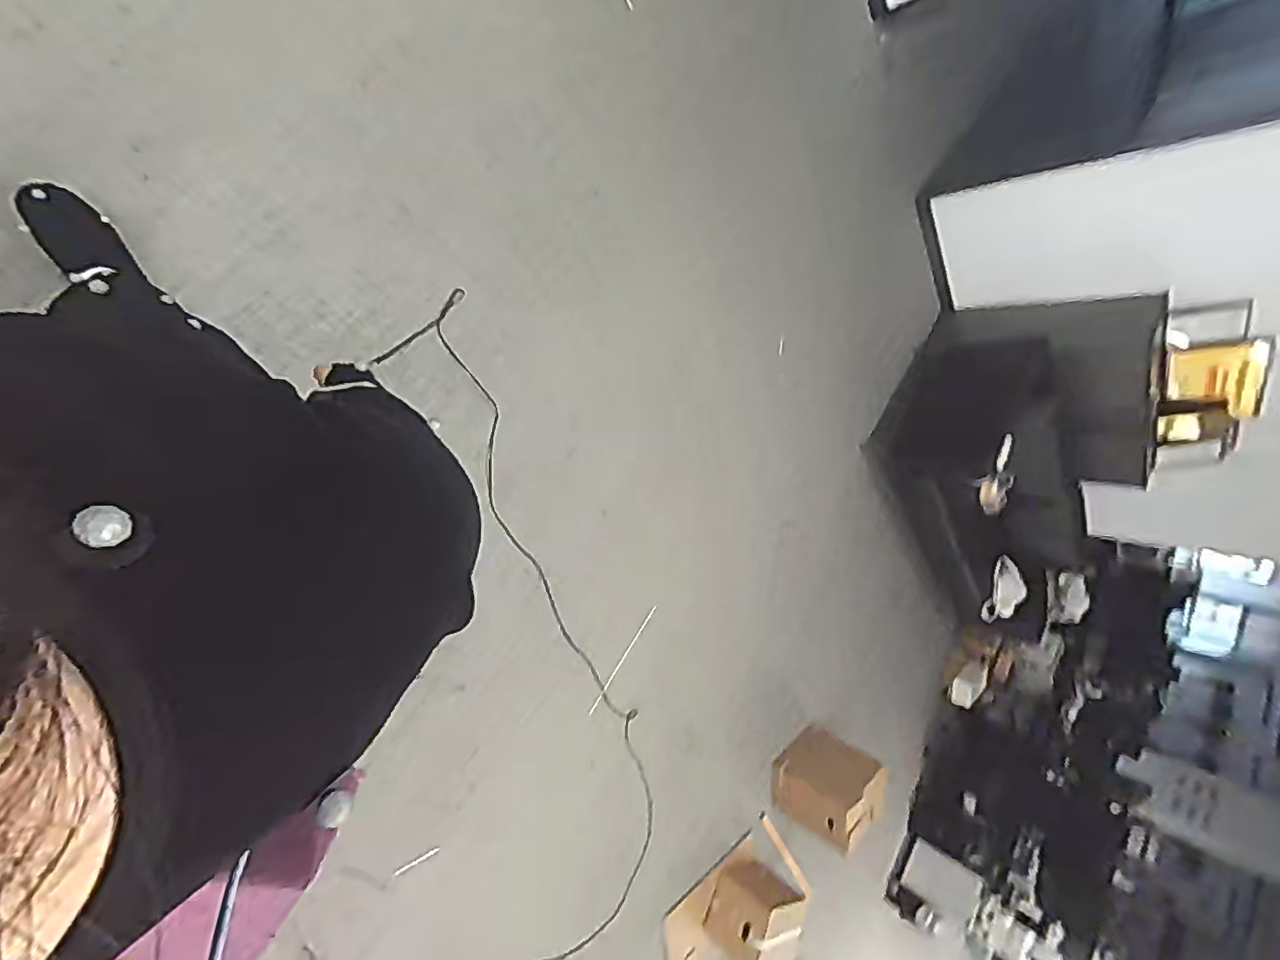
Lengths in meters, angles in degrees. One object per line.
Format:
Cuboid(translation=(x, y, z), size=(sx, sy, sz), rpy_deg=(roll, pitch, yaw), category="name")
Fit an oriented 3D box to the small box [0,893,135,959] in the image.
Cuboid(translation=(-0.635, 0.534, 0.508), size=(0.168, 0.176, 0.179), rpy_deg=(-55, 128, -17), category="small box")
